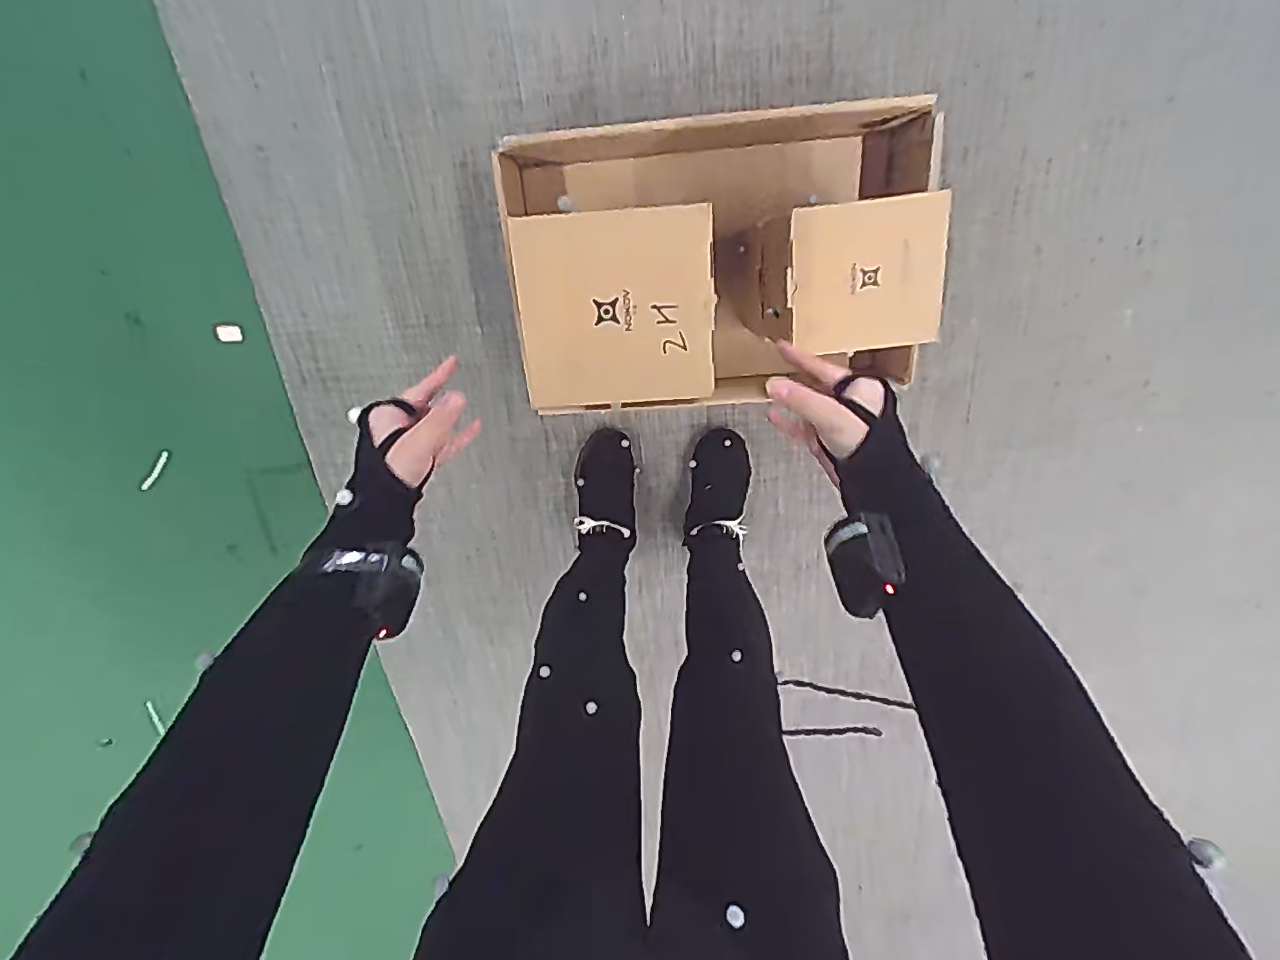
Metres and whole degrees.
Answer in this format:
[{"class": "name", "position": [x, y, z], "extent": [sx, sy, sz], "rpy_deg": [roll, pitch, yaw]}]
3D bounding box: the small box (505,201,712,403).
[{"class": "small box", "position": [-0.021, -0.180, 0.552], "extent": [0.179, 0.176, 0.168], "rpy_deg": [-3, 112, 2]}]

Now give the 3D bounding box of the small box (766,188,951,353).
[{"class": "small box", "position": [0.260, -0.264, 0.690], "extent": [0.179, 0.176, 0.168], "rpy_deg": [-5, 113, 4]}]
